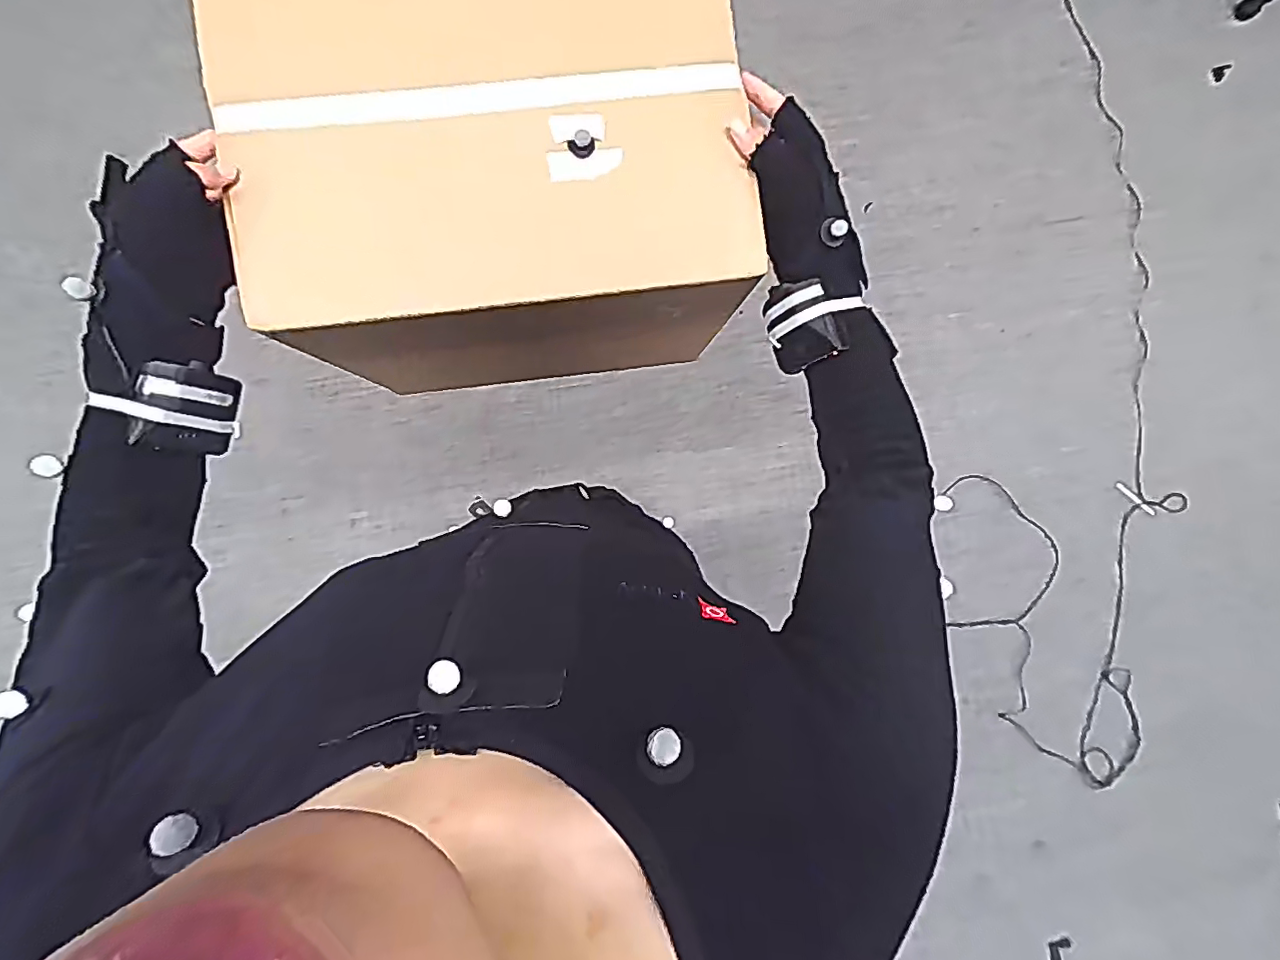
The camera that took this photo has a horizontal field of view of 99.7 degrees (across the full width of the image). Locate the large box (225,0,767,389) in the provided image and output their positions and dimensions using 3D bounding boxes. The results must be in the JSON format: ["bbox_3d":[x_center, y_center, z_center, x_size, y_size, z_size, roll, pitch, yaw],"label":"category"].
[{"bbox_3d":[-0.124,-0.300,0.580,0.408,0.320,0.320,-8,91,-5],"label":"large box"}]
